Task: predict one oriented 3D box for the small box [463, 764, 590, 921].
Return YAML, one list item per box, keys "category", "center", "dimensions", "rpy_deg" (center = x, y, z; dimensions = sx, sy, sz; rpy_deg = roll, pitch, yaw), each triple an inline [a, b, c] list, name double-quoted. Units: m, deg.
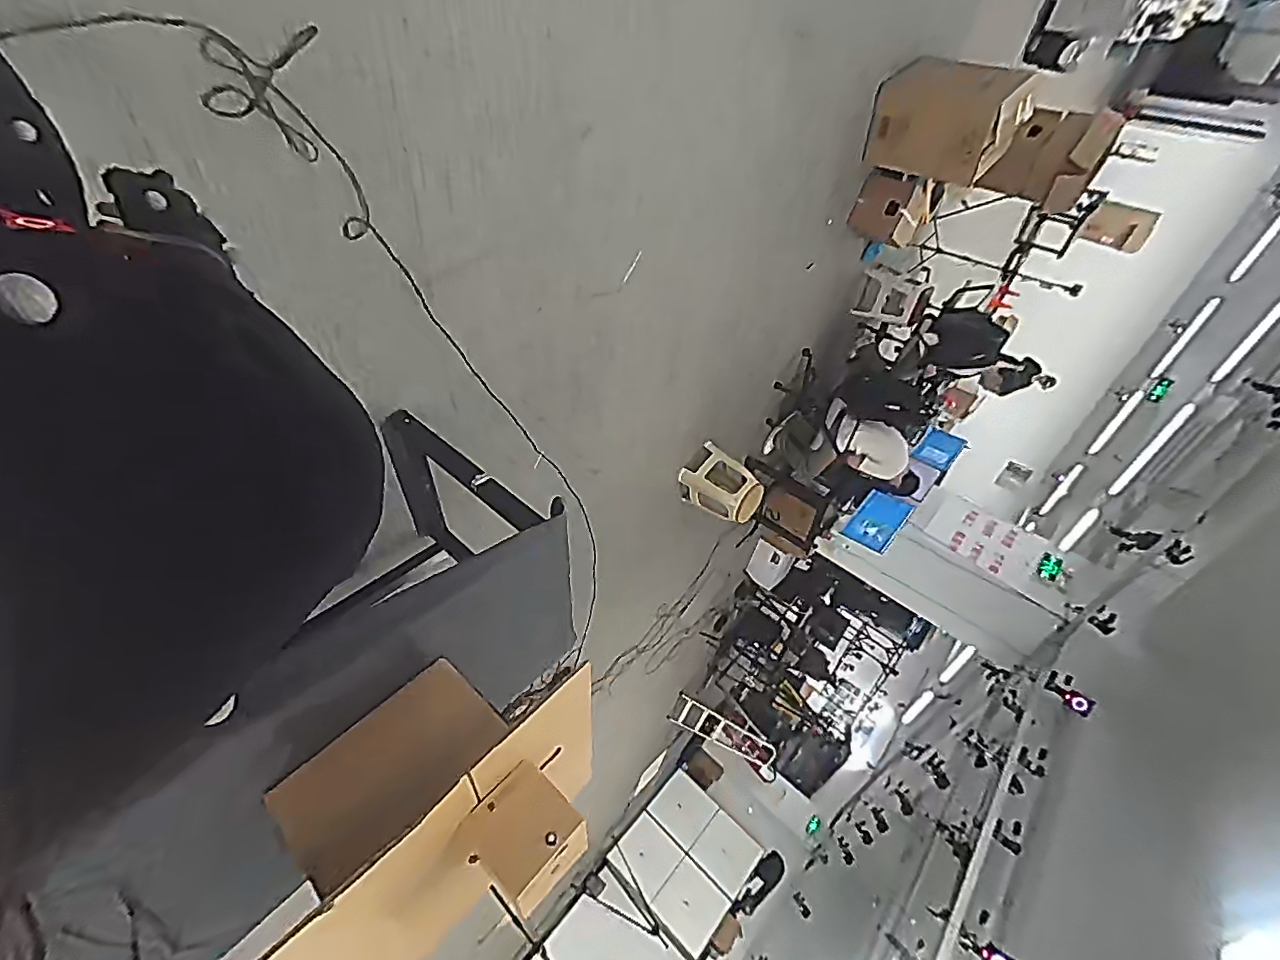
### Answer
- category: "small box"
  center: [-0.214, 0.687, 1.038]
  dimensions: [0.168, 0.176, 0.179]
  rpy_deg: [-36, 146, -36]
